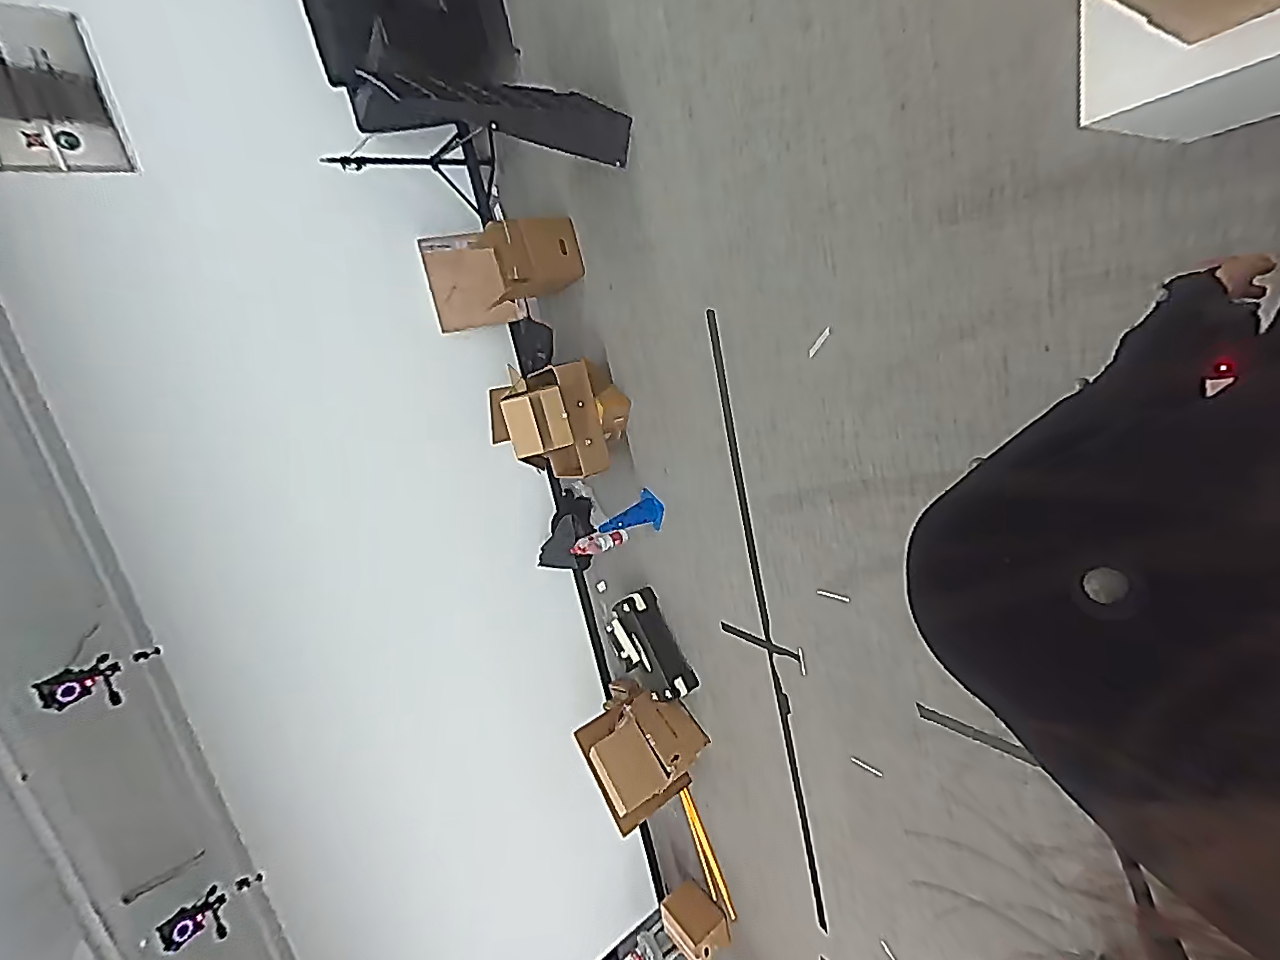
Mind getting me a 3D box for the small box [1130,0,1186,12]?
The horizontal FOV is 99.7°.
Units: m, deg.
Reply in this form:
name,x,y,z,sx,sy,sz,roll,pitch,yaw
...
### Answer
name,x,y,z,sx,sy,sz,roll,pitch,yaw
small box,0.513,-0.551,0.458,0.168,0.176,0.179,13,117,54
